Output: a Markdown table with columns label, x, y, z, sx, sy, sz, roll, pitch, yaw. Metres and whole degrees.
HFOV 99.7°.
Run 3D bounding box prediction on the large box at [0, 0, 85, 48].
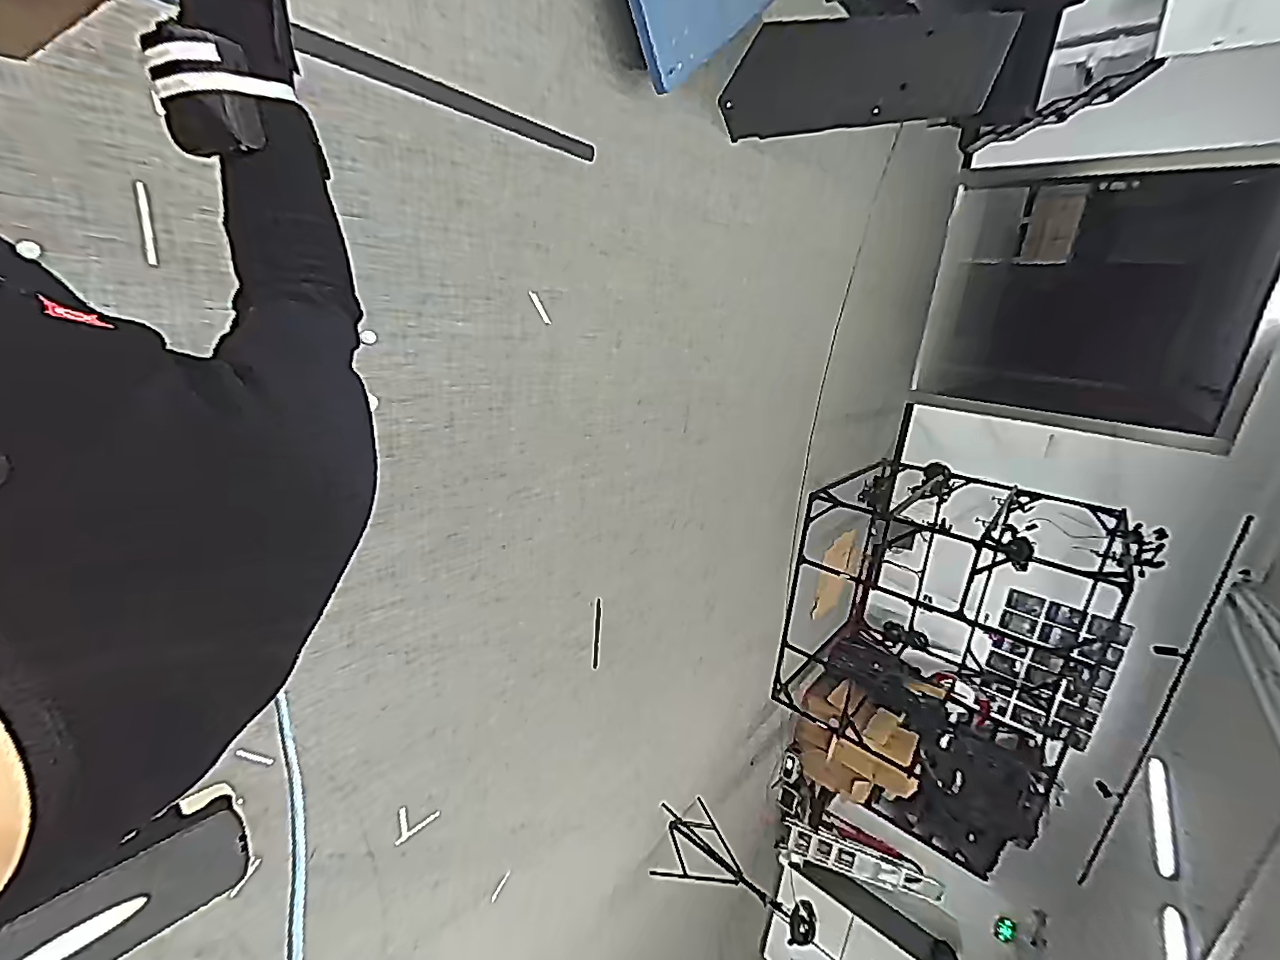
| label | x | y | z | sx | sy | sz | roll | pitch | yaw |
| --- | --- | --- | --- | --- | --- | --- | --- | --- | --- |
| large box | -0.532 | -0.433 | 0.197 | 0.408 | 0.320 | 0.320 | -22 | 125 | -52 |
